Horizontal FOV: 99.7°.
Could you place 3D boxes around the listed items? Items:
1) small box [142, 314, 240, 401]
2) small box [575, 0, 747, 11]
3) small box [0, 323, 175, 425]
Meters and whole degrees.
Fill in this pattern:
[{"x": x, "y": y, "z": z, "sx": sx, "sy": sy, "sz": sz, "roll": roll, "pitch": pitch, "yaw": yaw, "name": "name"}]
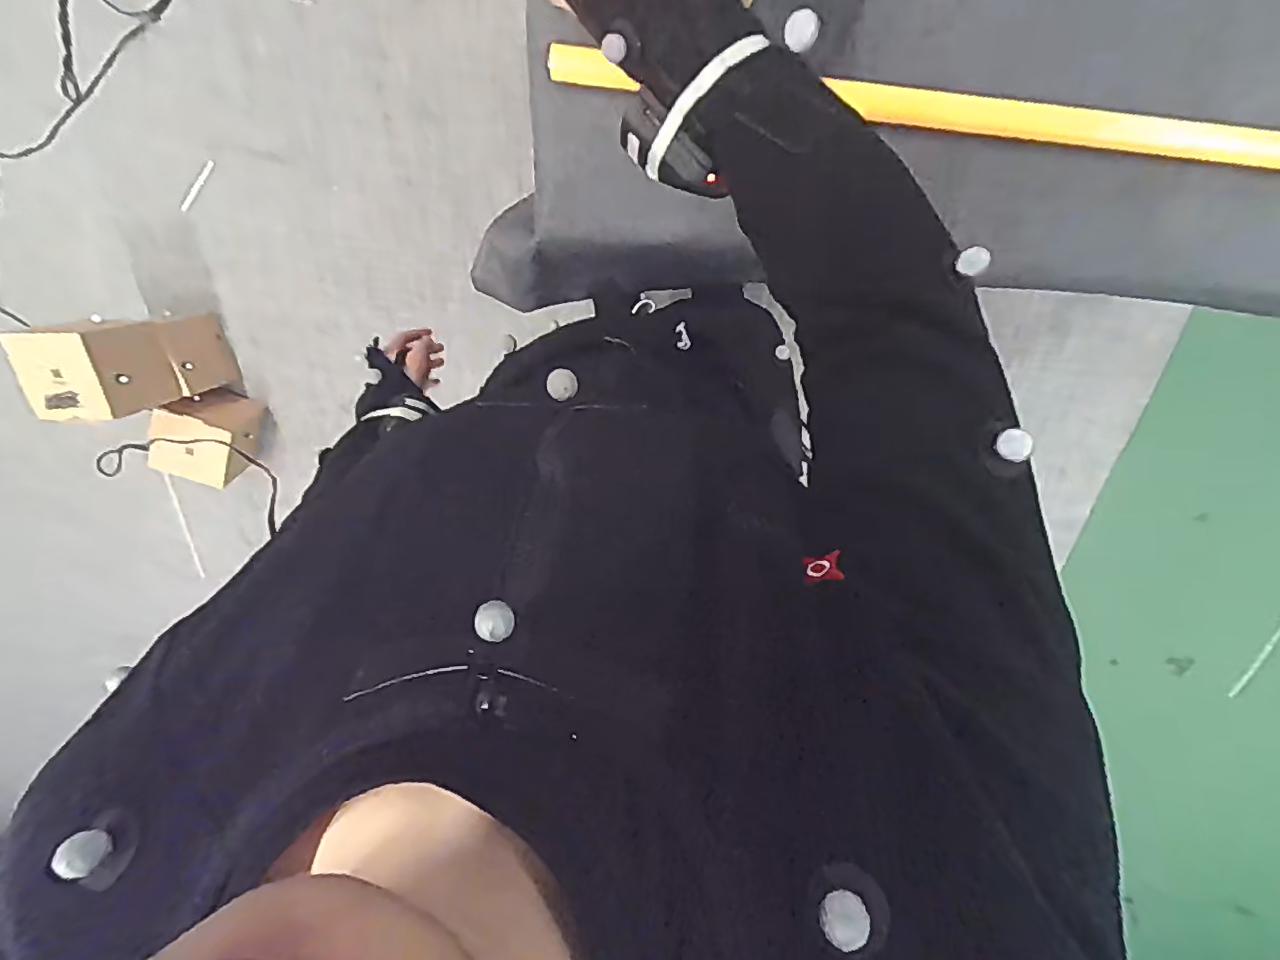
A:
[{"x": -1.113, "y": -0.288, "z": 1.281, "sx": 0.179, "sy": 0.176, "sz": 0.168, "roll": -5, "pitch": 118, "yaw": 7, "name": "small box"}, {"x": 0.007, "y": -0.431, "z": 0.340, "sx": 0.168, "sy": 0.176, "sz": 0.179, "roll": 3, "pitch": 115, "yaw": 2, "name": "small box"}, {"x": -1.131, "y": -0.224, "z": 1.125, "sx": 0.168, "sy": 0.176, "sz": 0.179, "roll": 1, "pitch": 114, "yaw": 3, "name": "small box"}]
